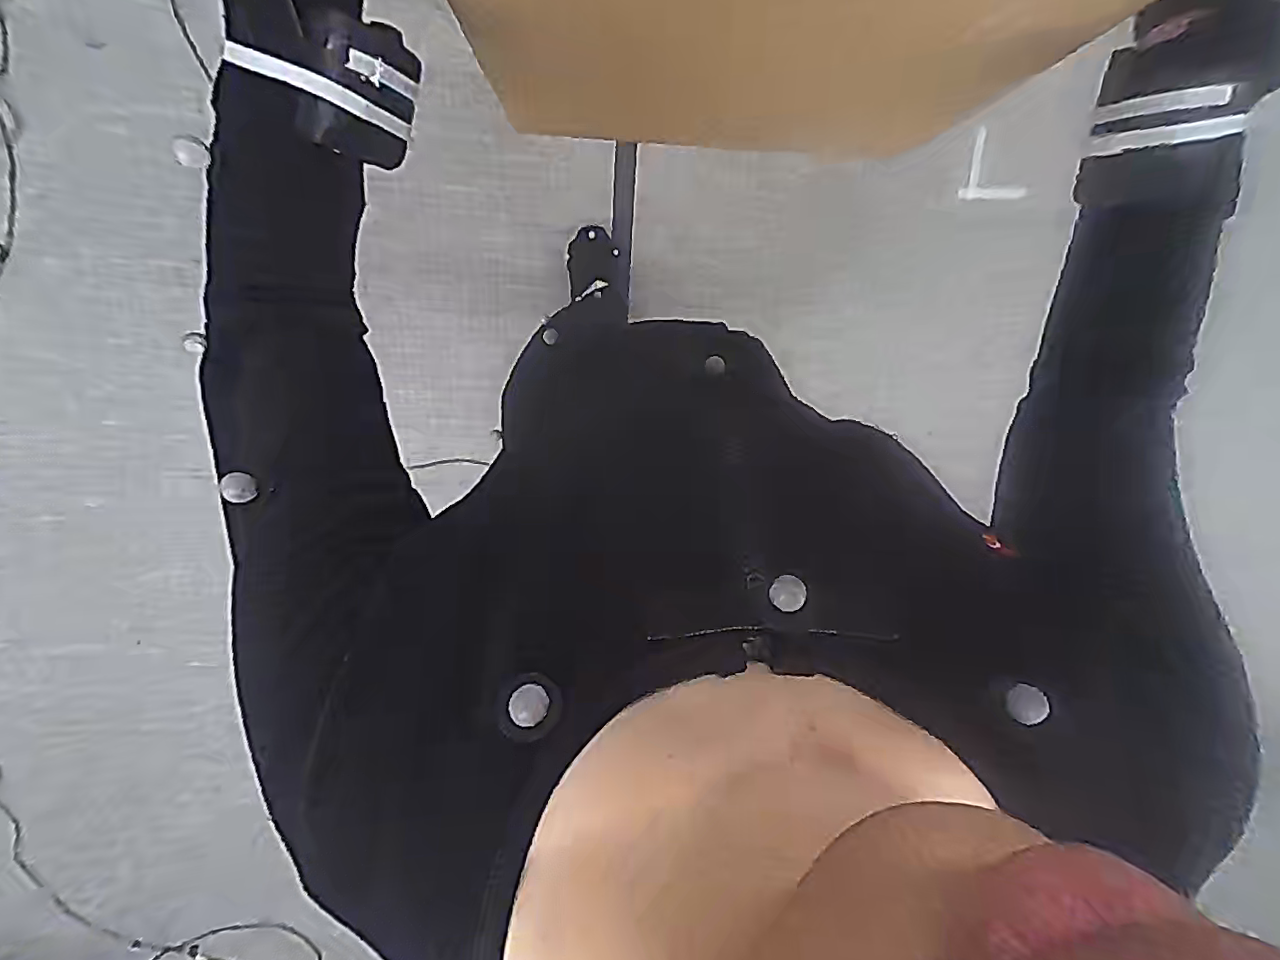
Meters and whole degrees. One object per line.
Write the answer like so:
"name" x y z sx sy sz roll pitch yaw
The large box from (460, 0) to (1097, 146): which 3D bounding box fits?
"large box" 0.080 -0.459 0.375 0.408 0.320 0.320 1 105 -4
